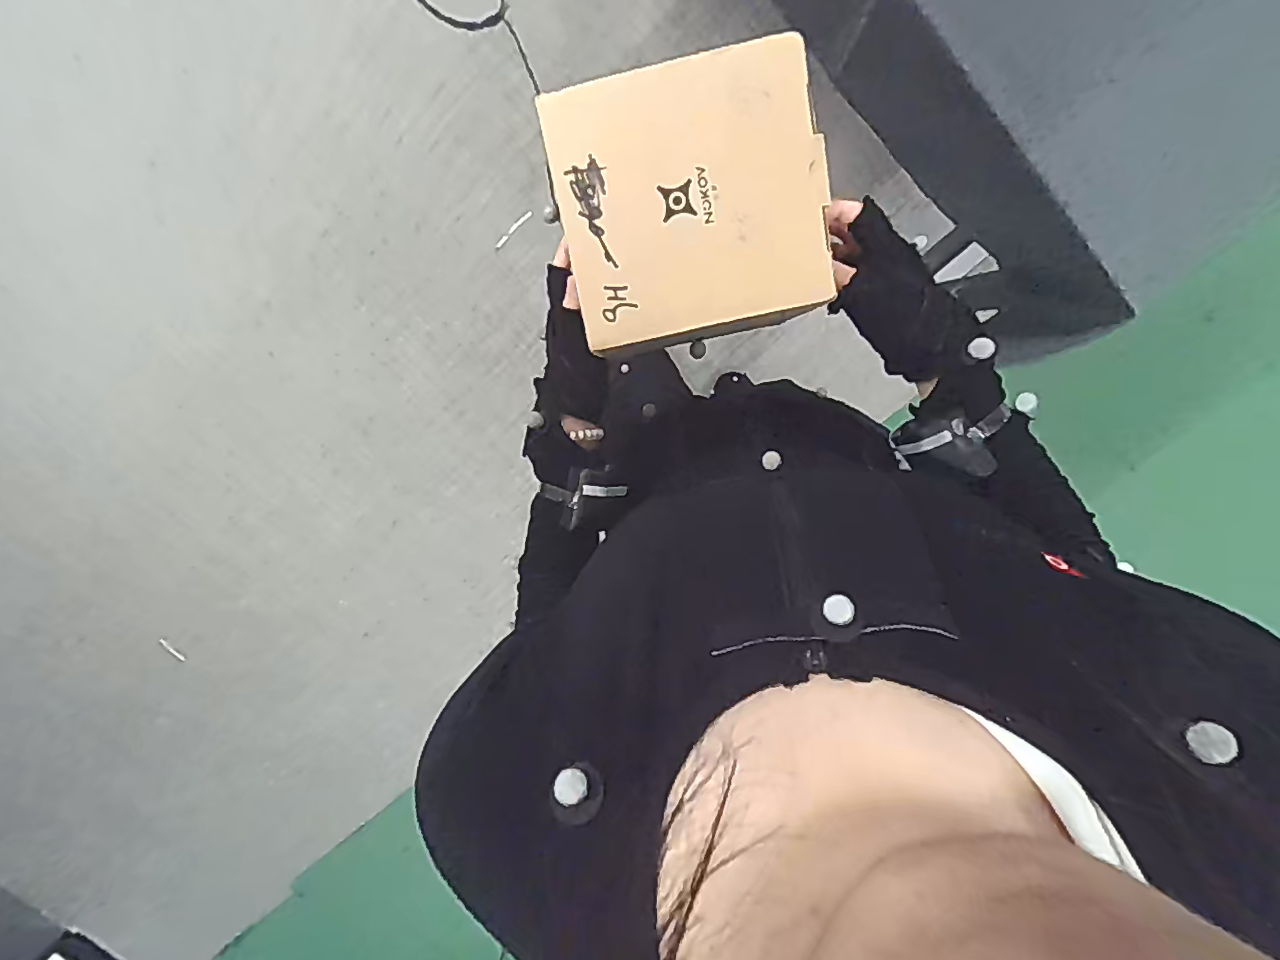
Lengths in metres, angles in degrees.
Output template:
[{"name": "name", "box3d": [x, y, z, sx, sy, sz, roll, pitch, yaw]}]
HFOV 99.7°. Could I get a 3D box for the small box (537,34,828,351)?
[{"name": "small box", "box3d": [0.030, -0.205, 0.438, 0.179, 0.176, 0.168, -11, 99, 2]}]
